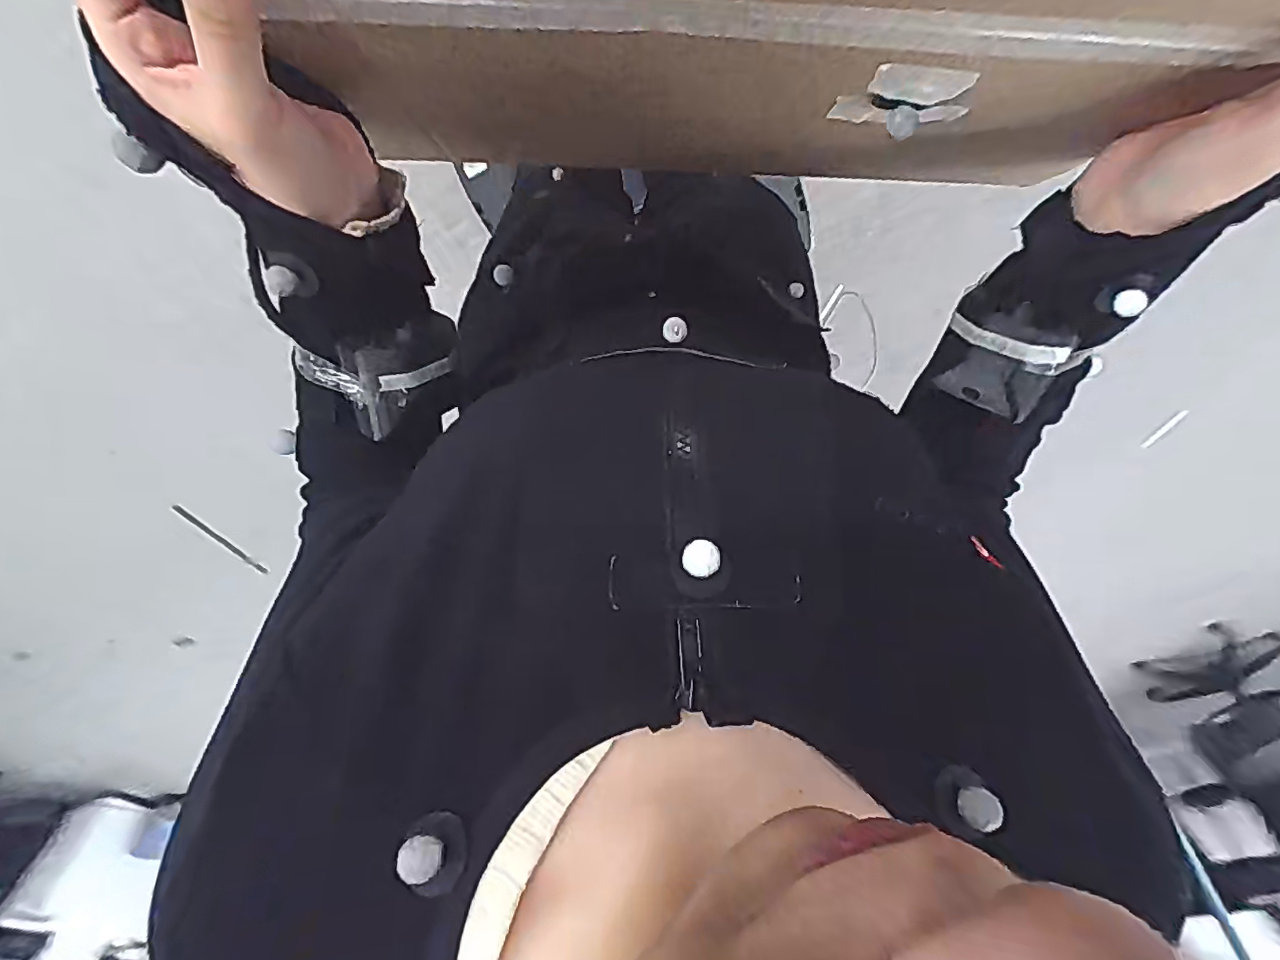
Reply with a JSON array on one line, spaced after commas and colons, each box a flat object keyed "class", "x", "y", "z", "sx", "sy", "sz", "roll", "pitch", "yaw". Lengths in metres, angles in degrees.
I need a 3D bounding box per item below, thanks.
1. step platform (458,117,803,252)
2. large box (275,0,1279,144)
[{"class": "step platform", "x": -0.018, "y": -0.733, "z": 1.112, "sx": 0.684, "sy": 0.204, "sz": 0.286, "roll": -18, "pitch": 129, "yaw": 10}, {"class": "large box", "x": 0.065, "y": -0.315, "z": 0.126, "sx": 0.408, "sy": 0.320, "sz": 0.320, "roll": 1, "pitch": 102, "yaw": -3}]
